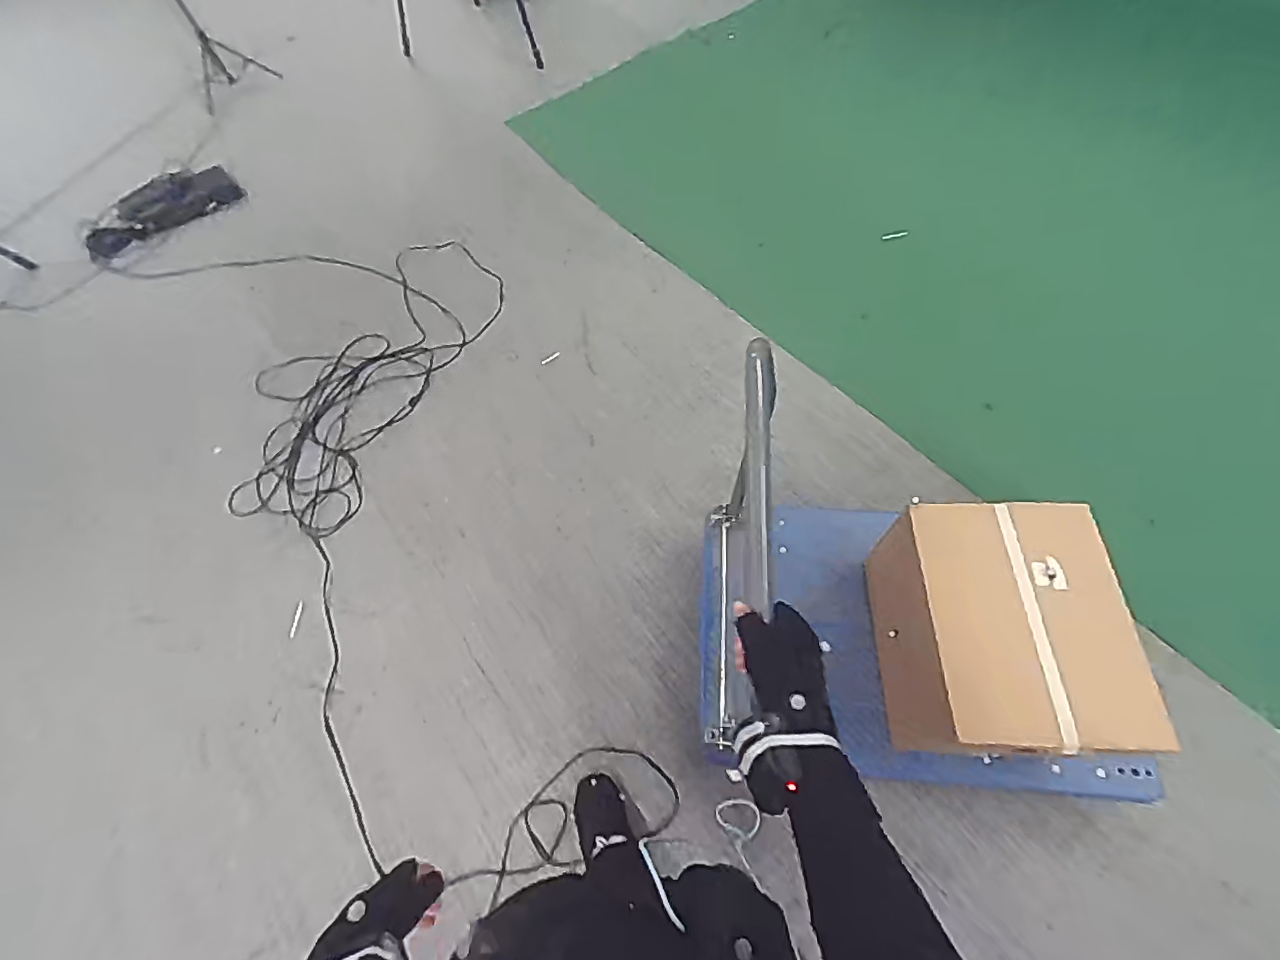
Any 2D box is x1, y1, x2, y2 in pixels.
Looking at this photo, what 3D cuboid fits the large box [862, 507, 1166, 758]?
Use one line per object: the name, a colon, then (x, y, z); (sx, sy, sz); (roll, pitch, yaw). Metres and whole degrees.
large box: (0.648, 0.299, 1.036); (0.320, 0.320, 0.408); (1, 60, 5)
